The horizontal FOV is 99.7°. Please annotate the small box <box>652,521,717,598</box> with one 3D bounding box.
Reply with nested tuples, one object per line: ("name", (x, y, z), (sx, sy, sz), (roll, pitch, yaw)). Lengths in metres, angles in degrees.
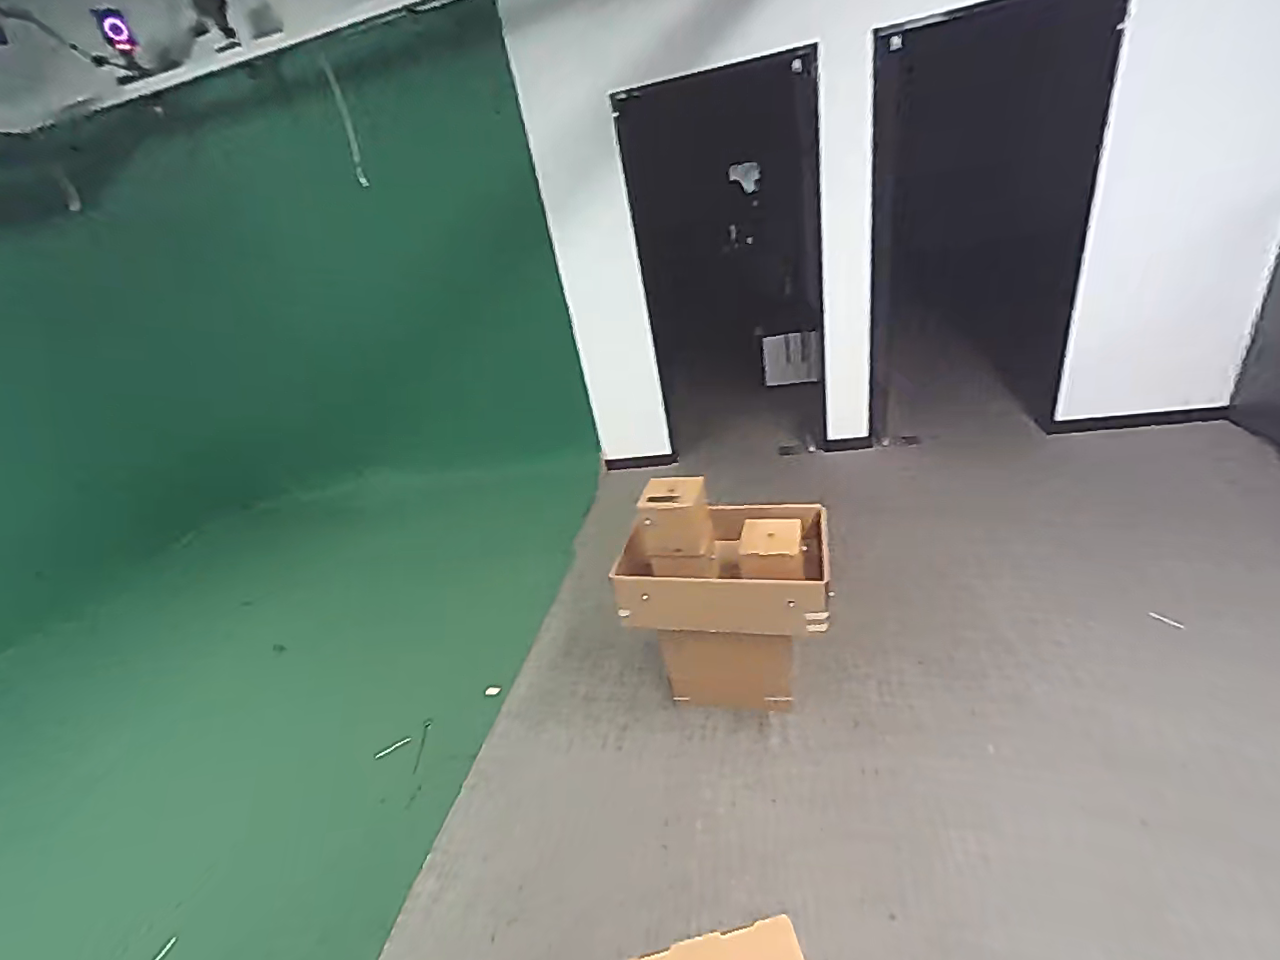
("small box", (0.145, 0.247, 1.689), (0.168, 0.176, 0.179), (-4, 29, 17))
